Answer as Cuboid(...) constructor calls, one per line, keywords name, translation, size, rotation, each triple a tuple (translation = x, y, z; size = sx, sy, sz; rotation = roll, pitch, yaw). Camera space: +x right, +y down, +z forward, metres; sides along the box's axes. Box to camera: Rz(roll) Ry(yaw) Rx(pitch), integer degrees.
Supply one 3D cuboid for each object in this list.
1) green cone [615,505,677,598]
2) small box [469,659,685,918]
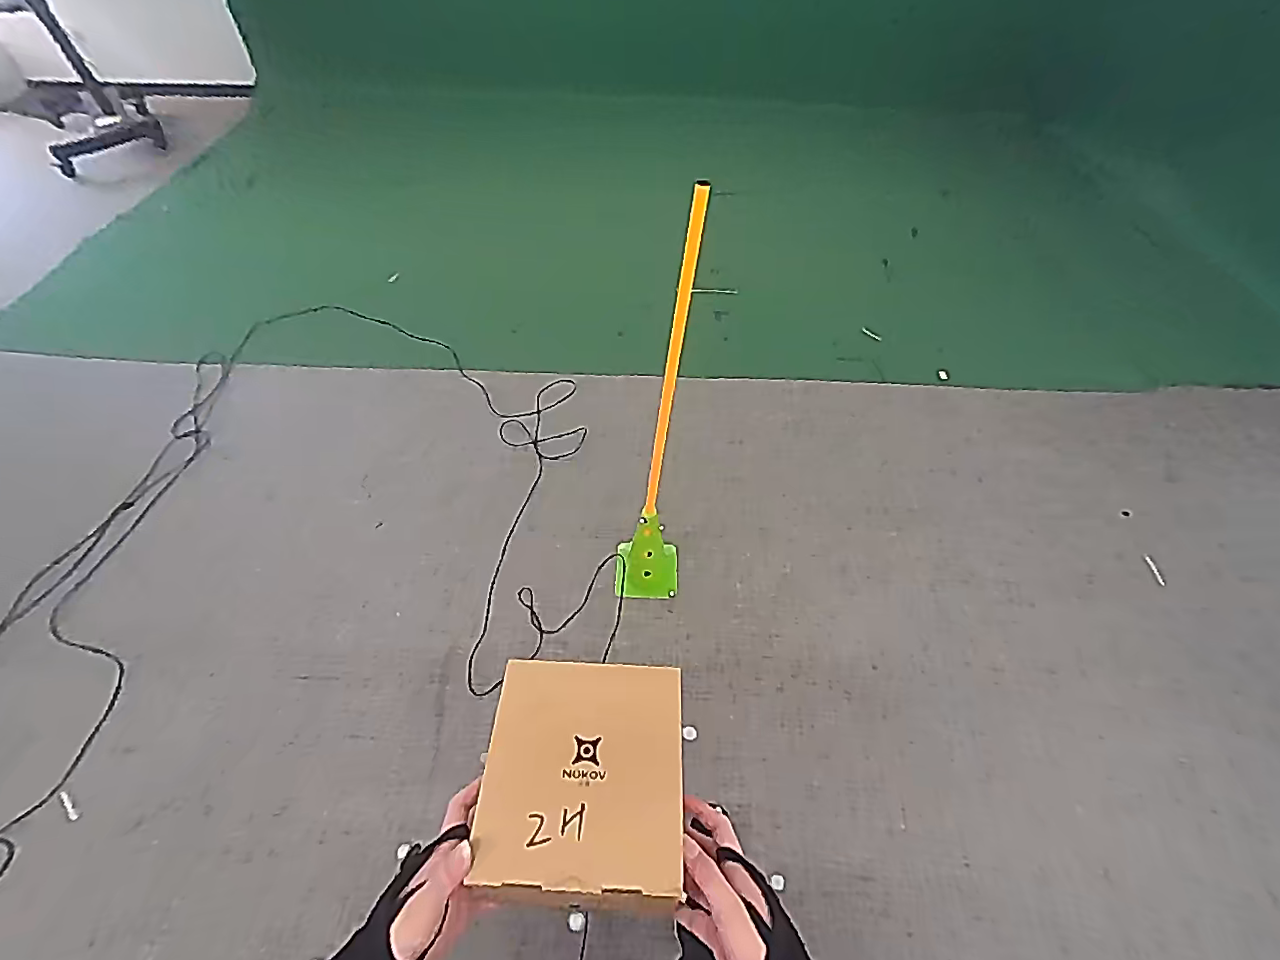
Cuboid(name="green cone", translation=(0.020, 0.192, 1.648), size=(0.202, 0.368, 0.200), rotation=(1, 52, 1))
Cuboid(name="small box", translation=(-0.048, 0.297, 0.521), size=(0.168, 0.176, 0.179), rotation=(4, 47, 1))
